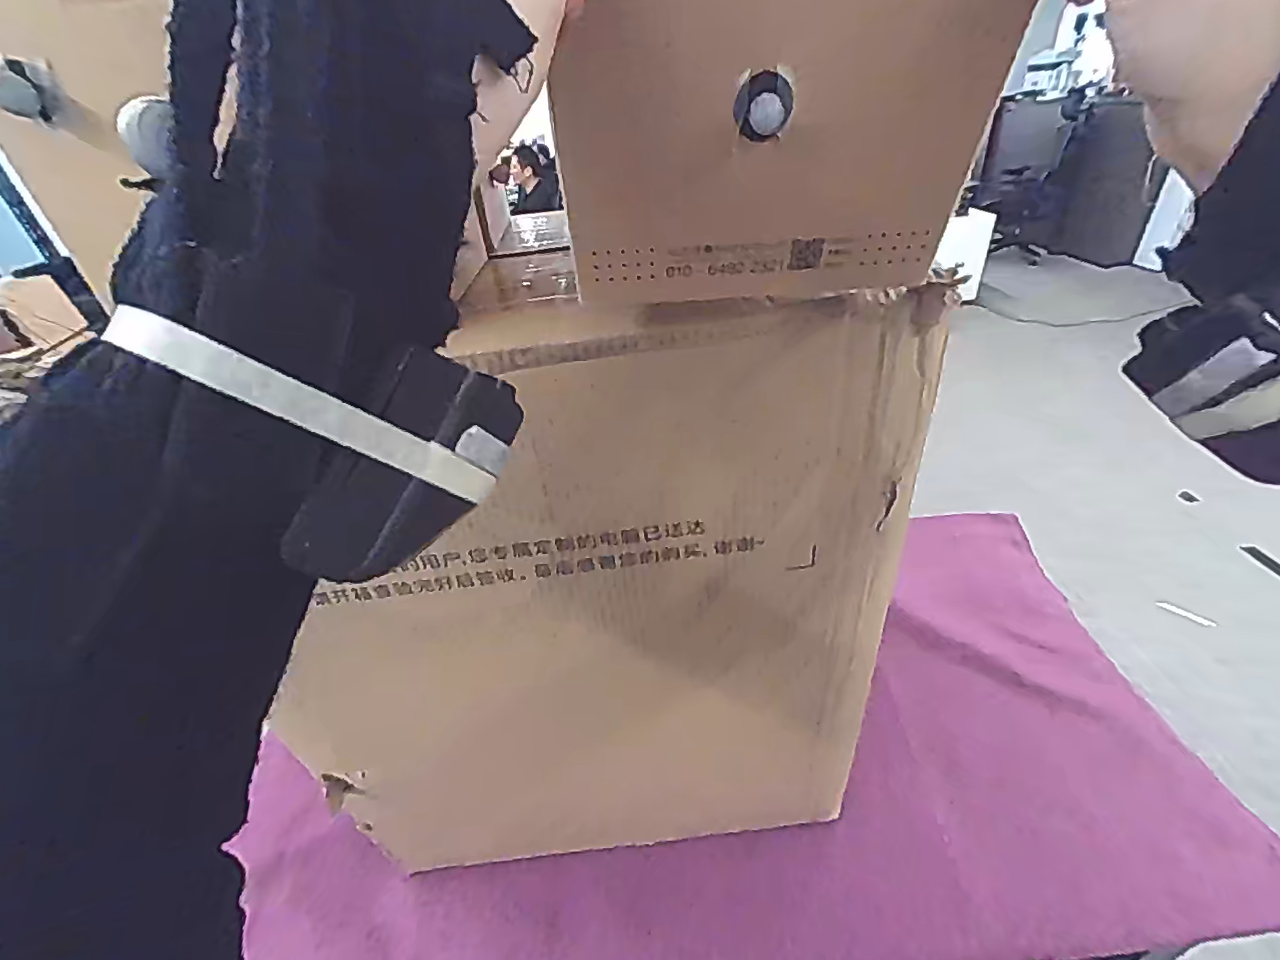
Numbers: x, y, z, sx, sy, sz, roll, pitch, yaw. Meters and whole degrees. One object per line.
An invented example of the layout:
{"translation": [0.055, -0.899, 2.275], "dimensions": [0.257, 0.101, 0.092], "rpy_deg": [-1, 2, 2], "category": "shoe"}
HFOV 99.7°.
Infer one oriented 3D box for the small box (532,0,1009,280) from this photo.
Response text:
{"translation": [0.046, -0.206, 0.245], "dimensions": [0.168, 0.176, 0.179], "rpy_deg": [-3, 51, 1], "category": "small box"}
